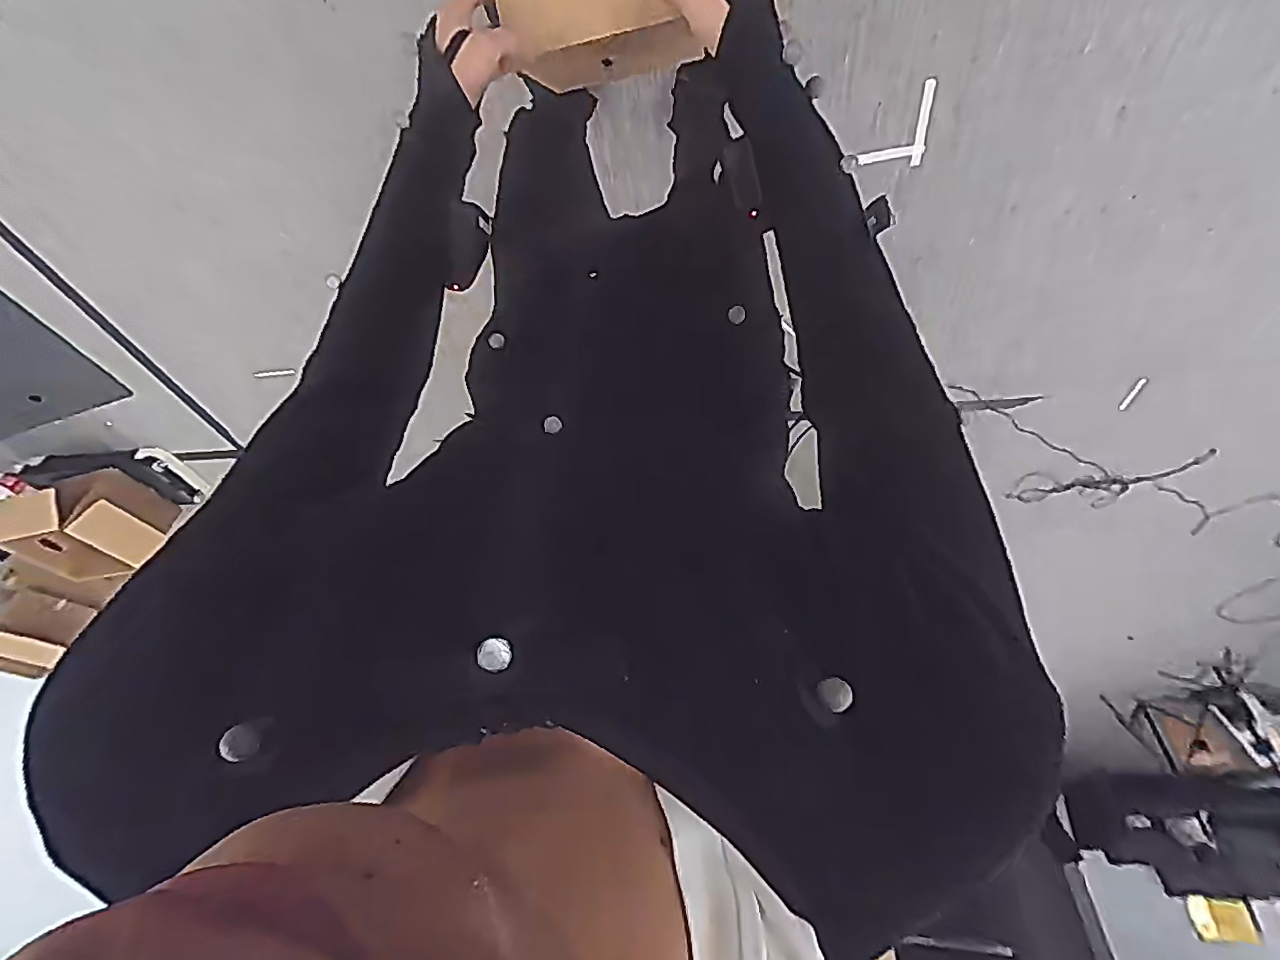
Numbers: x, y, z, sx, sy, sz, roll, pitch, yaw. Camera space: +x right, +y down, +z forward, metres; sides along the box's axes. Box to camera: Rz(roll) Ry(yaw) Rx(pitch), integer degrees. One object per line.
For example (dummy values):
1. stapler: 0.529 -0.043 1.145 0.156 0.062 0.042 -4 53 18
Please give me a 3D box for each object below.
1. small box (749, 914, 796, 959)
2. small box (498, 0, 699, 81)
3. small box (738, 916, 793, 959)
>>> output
1. small box: 0.509 1.795 2.092 0.168 0.176 0.179 -4 142 7
2. small box: -0.037 -0.505 0.513 0.179 0.176 0.168 -4 117 12
3. small box: 0.439 1.645 1.902 0.179 0.176 0.168 -4 142 7
